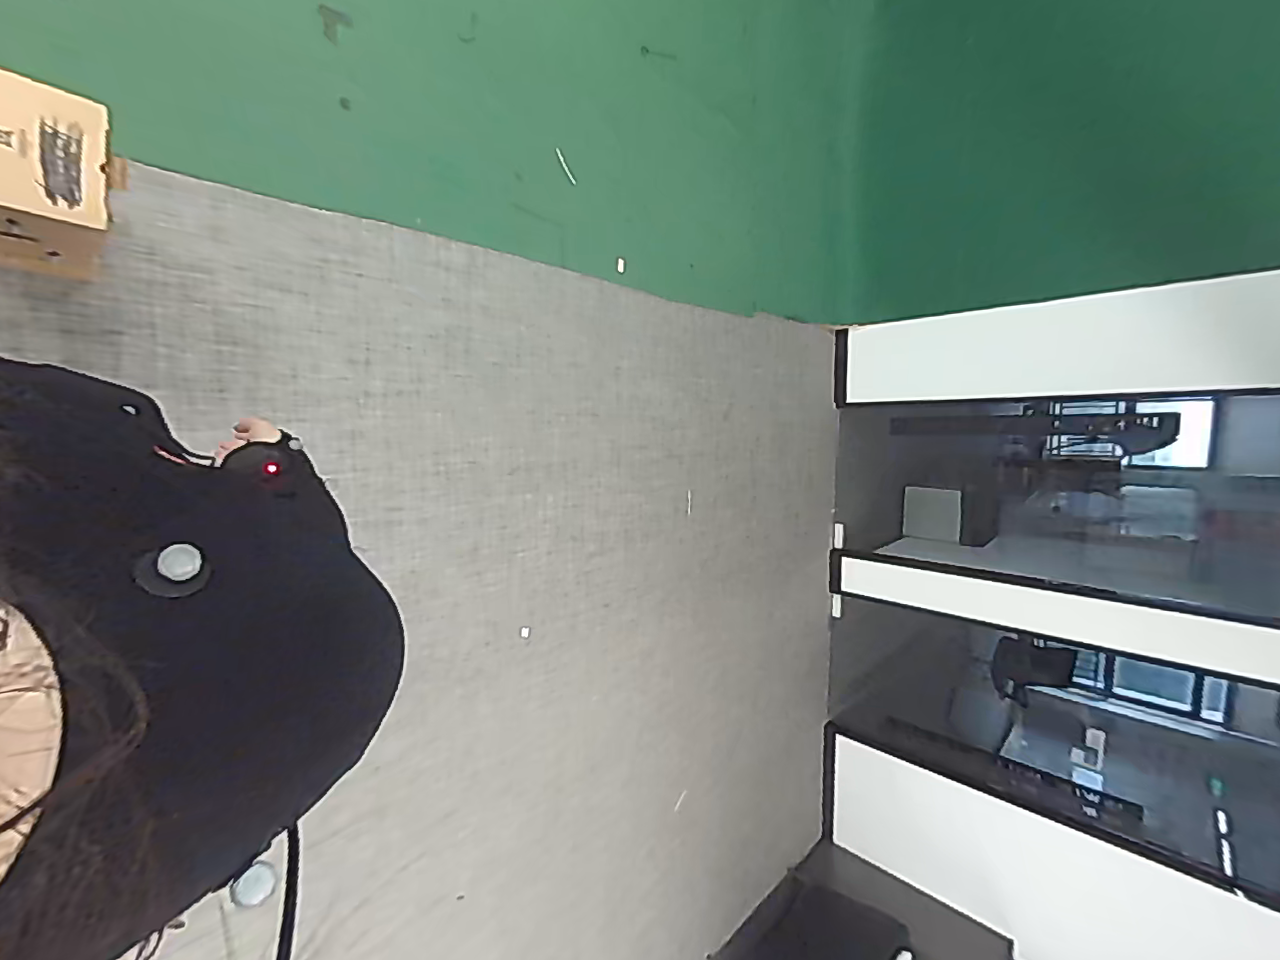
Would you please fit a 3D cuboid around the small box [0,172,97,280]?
[{"bbox_3d":[-1.067,-0.458,0.936,0.179,0.176,0.168,-2,96,-47],"label":"small box"}]

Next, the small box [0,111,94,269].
[{"bbox_3d":[-0.953,-0.439,0.824,0.168,0.176,0.179,-3,96,-47],"label":"small box"}]
